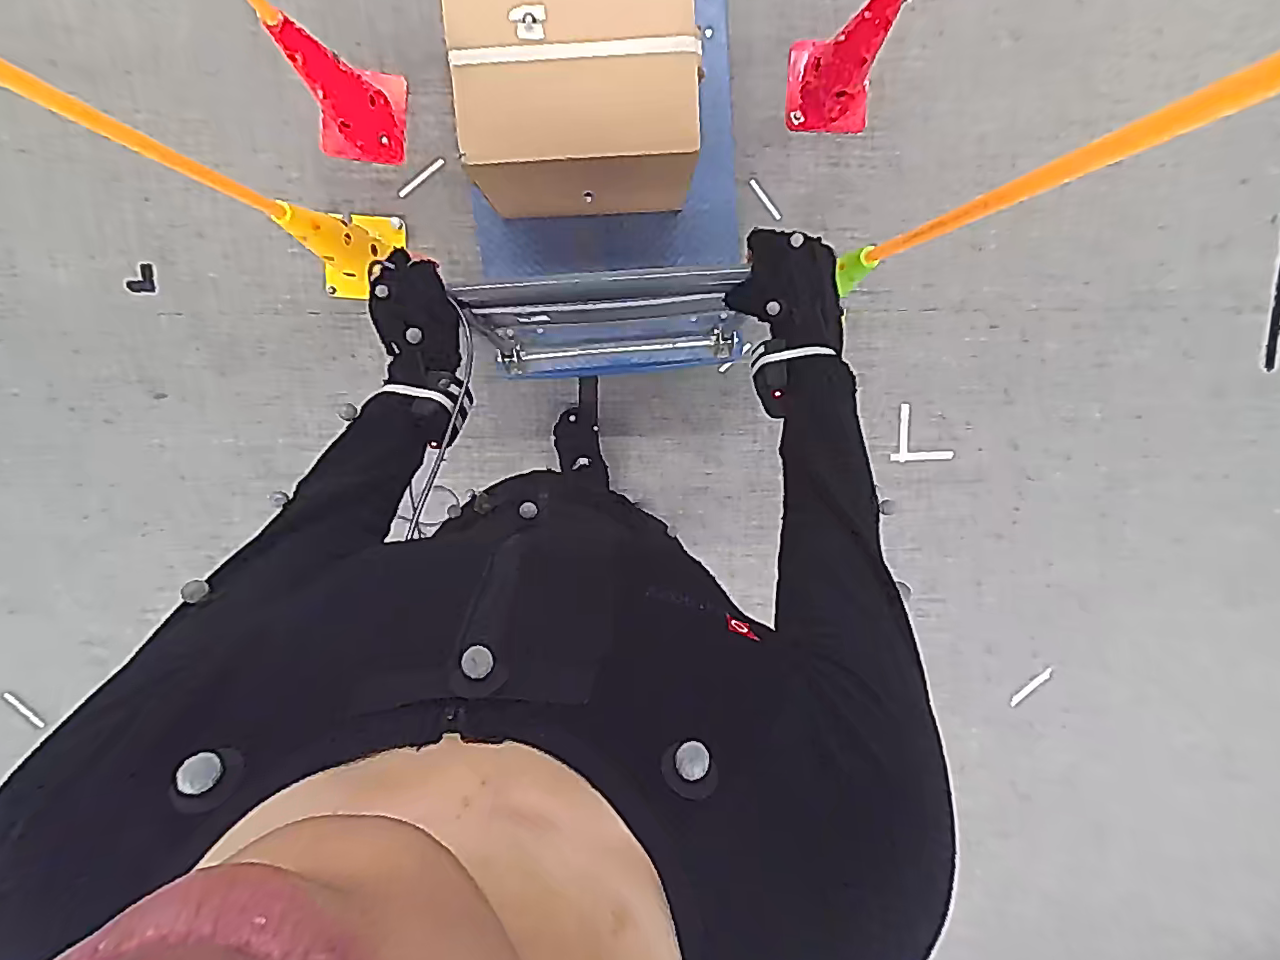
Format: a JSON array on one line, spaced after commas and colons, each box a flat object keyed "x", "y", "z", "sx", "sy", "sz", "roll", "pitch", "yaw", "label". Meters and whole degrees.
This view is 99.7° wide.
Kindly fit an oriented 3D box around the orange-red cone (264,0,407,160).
[{"x": -0.659, "y": -0.864, "z": 1.133, "sx": 0.198, "sy": 0.360, "sz": 0.199, "roll": 7, "pitch": 98, "yaw": -4, "label": "orange-red cone"}]

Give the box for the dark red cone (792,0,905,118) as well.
[{"x": 0.472, "y": -0.949, "z": 1.129, "sx": 0.201, "sy": 0.394, "sz": 0.202, "roll": 0, "pitch": 100, "yaw": -3, "label": "dark red cone"}]

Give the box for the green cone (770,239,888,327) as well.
[{"x": 0.449, "y": -0.474, "z": 1.226, "sx": 0.202, "sy": 0.368, "sz": 0.200, "roll": 4, "pitch": 99, "yaw": -3, "label": "green cone"}]

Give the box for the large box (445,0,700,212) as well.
[{"x": -0.109, "y": -0.725, "z": 1.024, "sx": 0.408, "sy": 0.320, "sz": 0.320, "roll": -4, "pitch": 100, "yaw": 0, "label": "large box"}]
